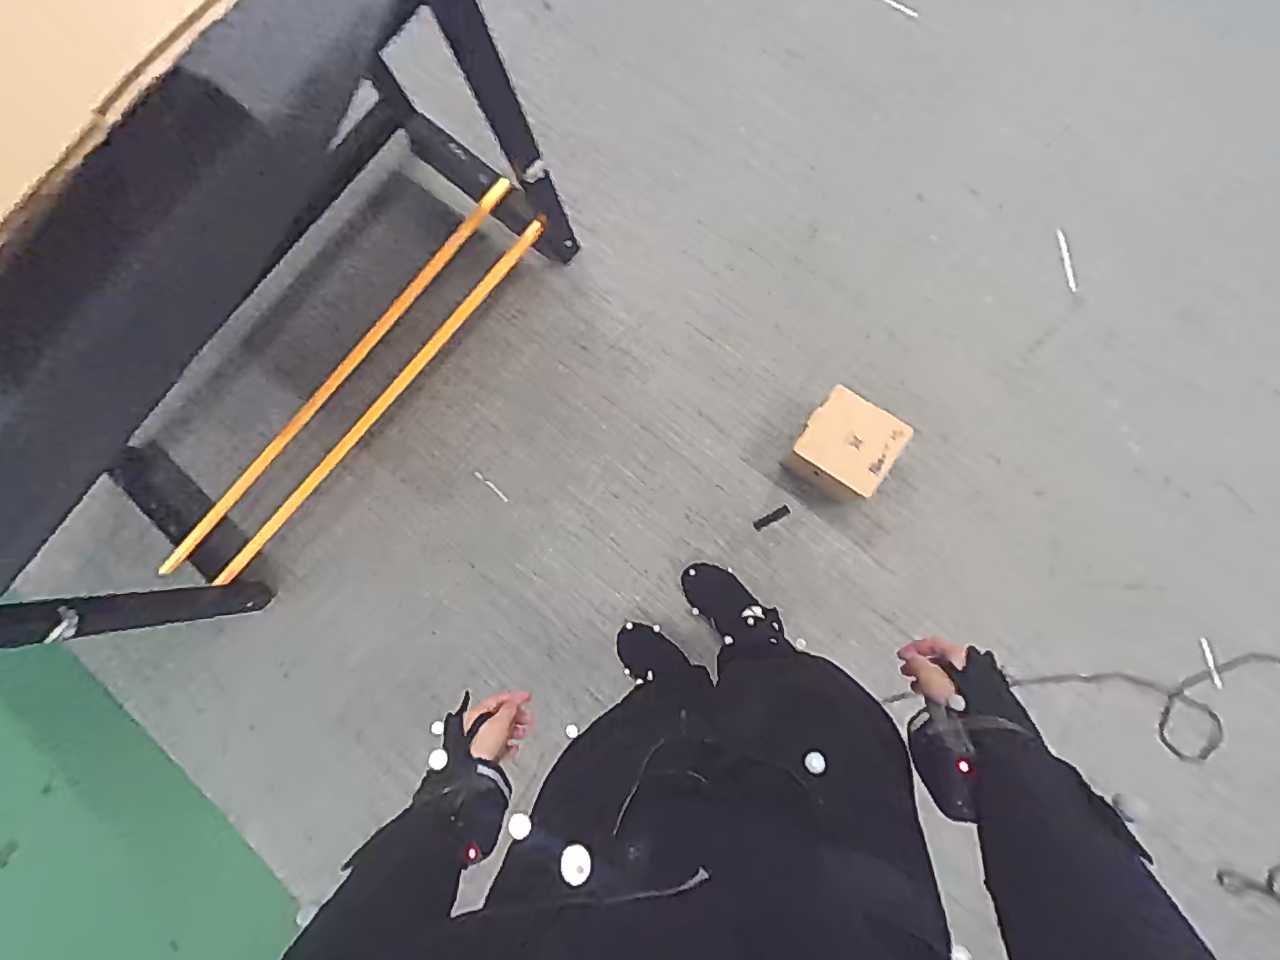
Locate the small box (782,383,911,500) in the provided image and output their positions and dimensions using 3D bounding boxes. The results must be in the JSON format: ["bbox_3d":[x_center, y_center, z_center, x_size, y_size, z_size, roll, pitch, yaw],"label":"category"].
[{"bbox_3d":[0.419,-0.070,1.135,0.179,0.176,0.168,34,88,10],"label":"small box"}]
